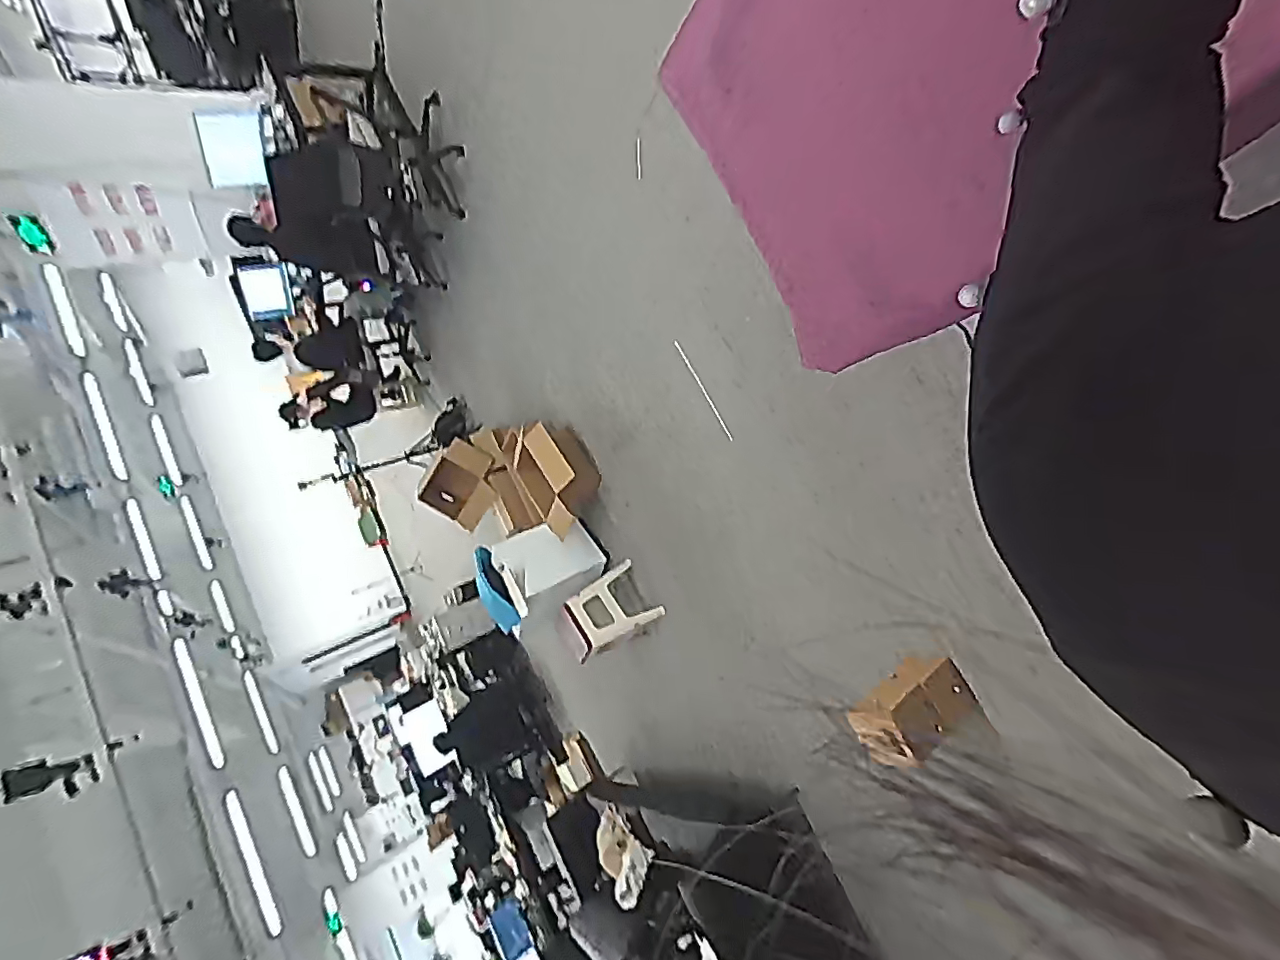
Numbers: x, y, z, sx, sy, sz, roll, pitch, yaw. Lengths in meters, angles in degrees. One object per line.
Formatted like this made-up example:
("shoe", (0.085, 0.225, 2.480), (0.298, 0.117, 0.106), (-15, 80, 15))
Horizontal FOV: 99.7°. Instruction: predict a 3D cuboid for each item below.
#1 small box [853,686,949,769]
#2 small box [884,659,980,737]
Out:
("small box", (0.787, 0.736, 1.619), (0.168, 0.176, 0.179), (62, 148, 10))
("small box", (0.919, 0.682, 1.701), (0.168, 0.176, 0.179), (62, 147, 9))
